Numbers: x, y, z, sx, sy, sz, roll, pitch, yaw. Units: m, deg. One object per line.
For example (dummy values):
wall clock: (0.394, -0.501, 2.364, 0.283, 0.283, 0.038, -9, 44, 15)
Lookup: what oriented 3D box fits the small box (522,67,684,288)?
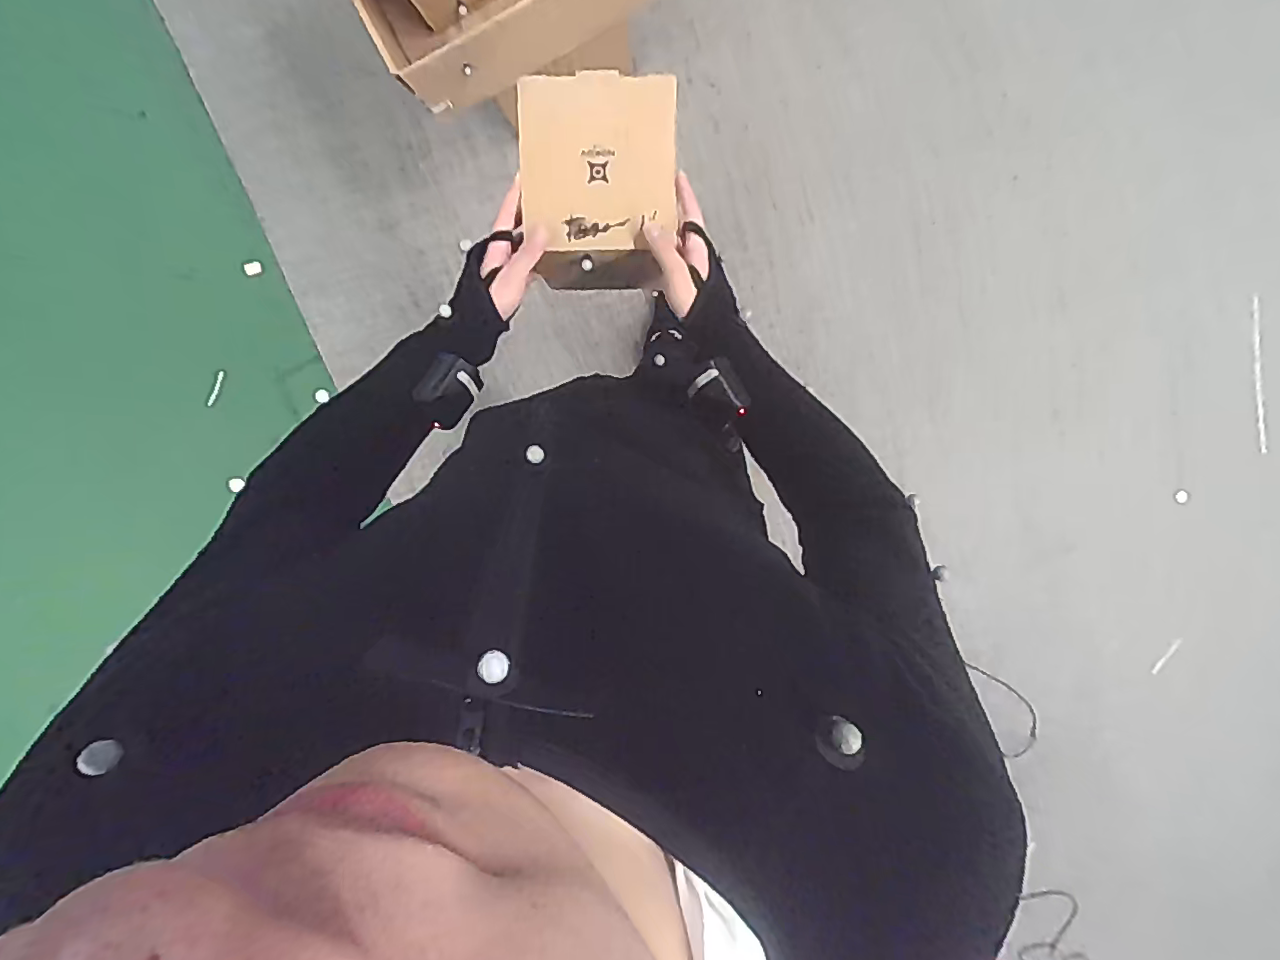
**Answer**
small box: (-0.038, -0.335, 0.629, 0.168, 0.176, 0.179, -1, 97, 0)
